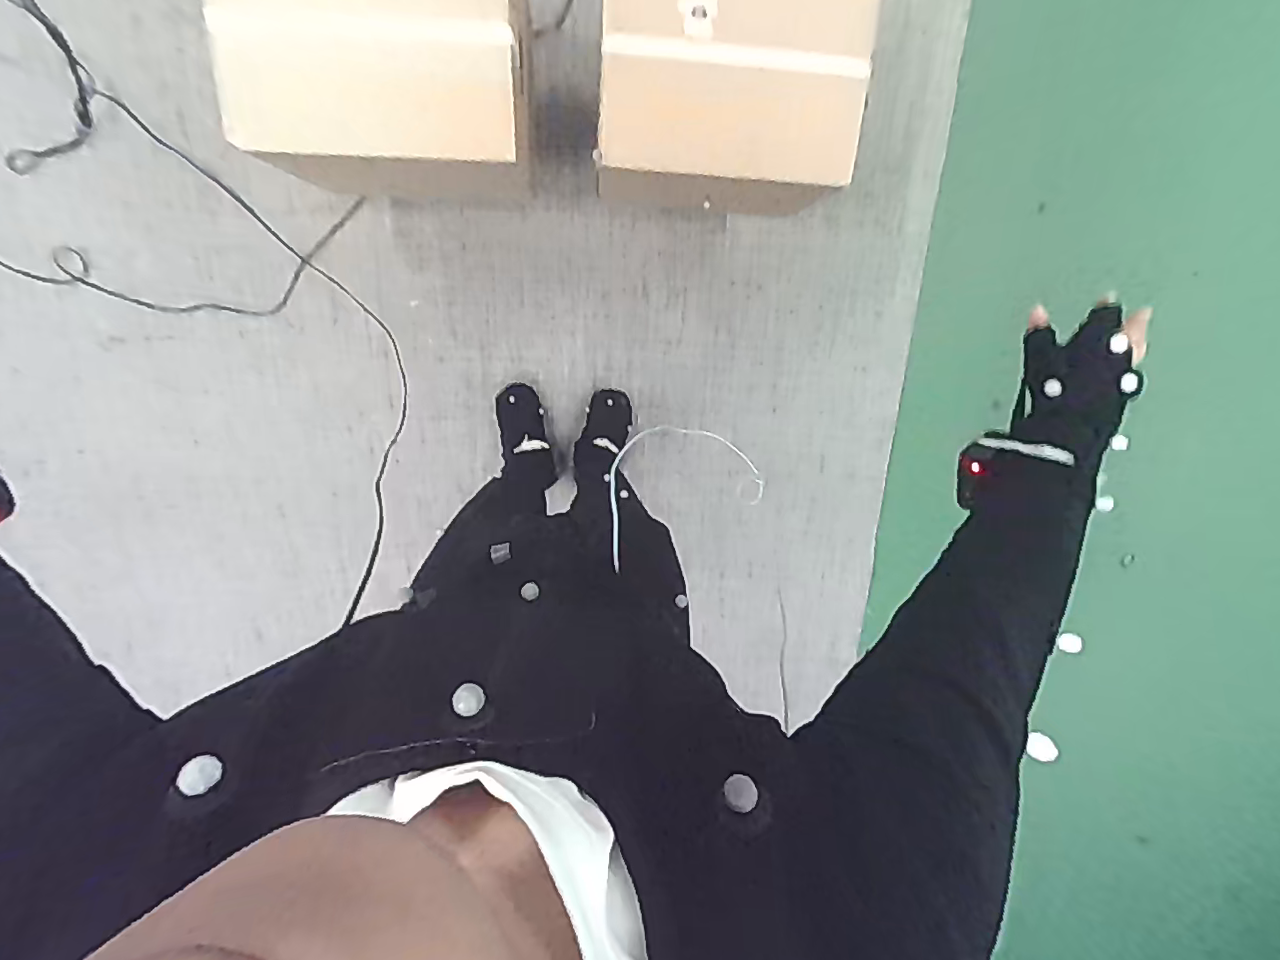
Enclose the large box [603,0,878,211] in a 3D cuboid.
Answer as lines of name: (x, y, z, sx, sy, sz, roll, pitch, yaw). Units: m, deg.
large box: (0.143, -0.677, 0.957, 0.408, 0.320, 0.320, 3, 107, -5)
